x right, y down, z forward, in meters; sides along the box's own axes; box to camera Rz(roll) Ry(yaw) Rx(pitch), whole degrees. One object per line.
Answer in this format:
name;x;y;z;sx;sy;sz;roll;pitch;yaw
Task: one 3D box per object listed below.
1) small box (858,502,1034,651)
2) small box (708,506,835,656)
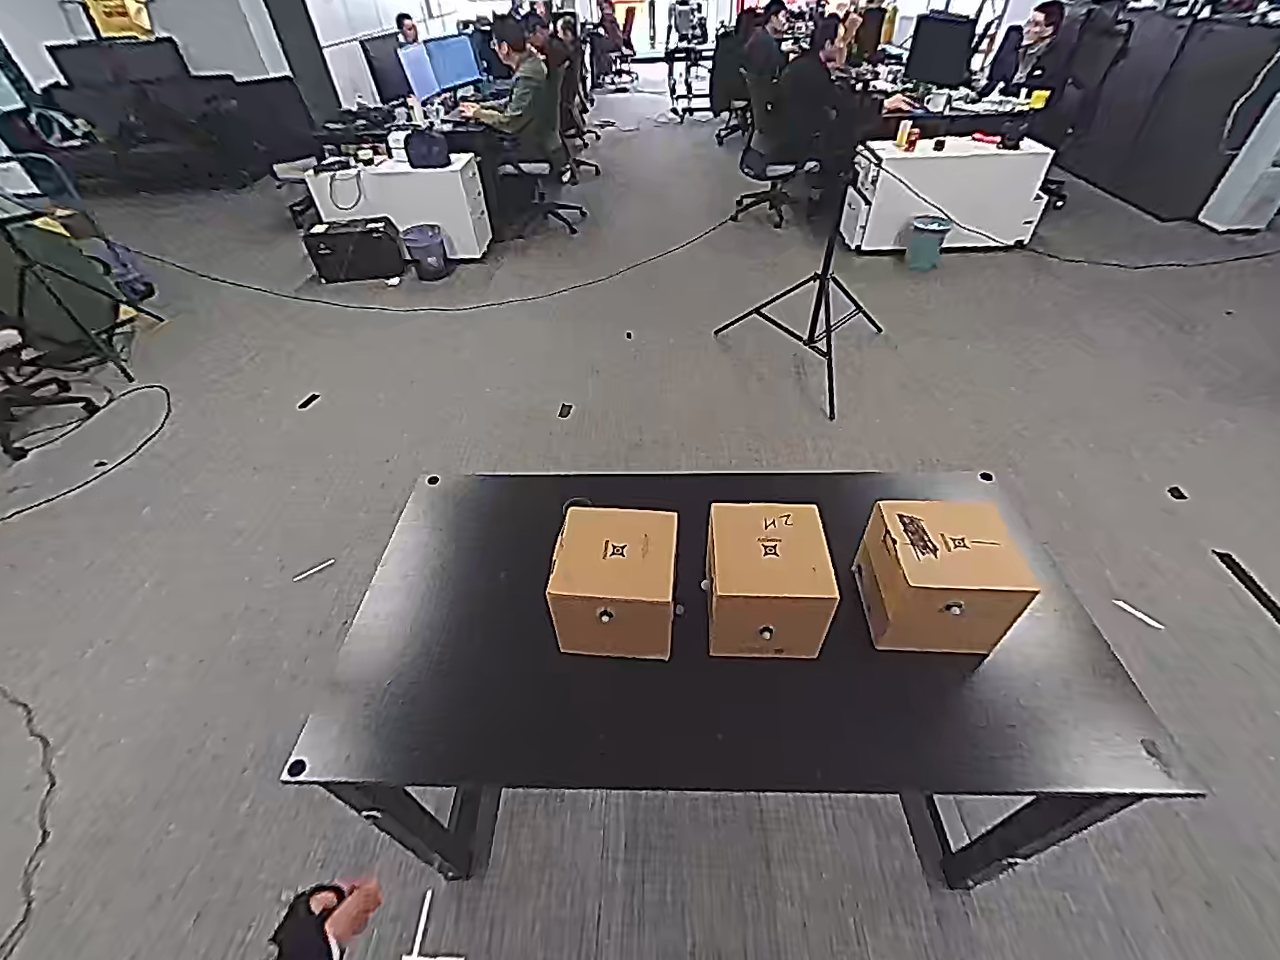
small box;0.456;0.152;0.846;0.179;0.176;0.168;1;44;4
small box;0.195;0.160;0.852;0.168;0.176;0.179;1;44;4
